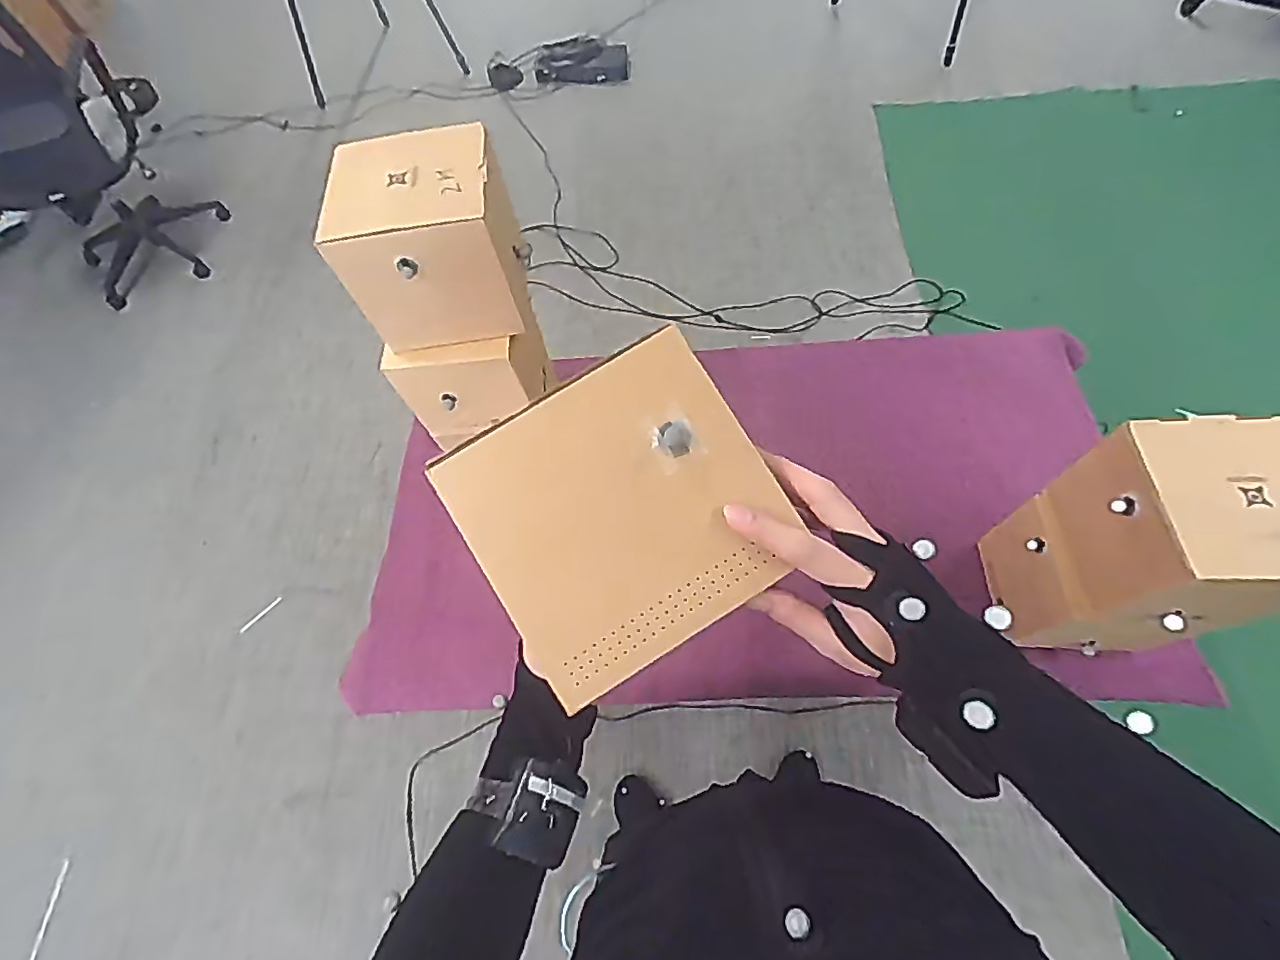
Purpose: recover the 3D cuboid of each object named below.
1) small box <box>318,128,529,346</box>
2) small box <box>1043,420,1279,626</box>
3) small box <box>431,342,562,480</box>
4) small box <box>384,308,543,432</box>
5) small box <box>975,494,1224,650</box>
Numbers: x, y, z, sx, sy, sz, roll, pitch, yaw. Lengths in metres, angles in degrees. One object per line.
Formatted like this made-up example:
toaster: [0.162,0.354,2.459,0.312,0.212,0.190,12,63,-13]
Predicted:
small box: [-0.241,-0.280,0.649,0.179,0.176,0.168,-8,63,0]
small box: [0.590,0.051,0.594,0.168,0.176,0.179,0,63,7]
small box: [-0.234,-0.113,0.930,0.179,0.176,0.168,-6,63,2]
small box: [-0.240,-0.182,0.783,0.168,0.176,0.179,-5,62,2]
small box: [0.600,0.131,0.736,0.179,0.176,0.168,1,62,5]
